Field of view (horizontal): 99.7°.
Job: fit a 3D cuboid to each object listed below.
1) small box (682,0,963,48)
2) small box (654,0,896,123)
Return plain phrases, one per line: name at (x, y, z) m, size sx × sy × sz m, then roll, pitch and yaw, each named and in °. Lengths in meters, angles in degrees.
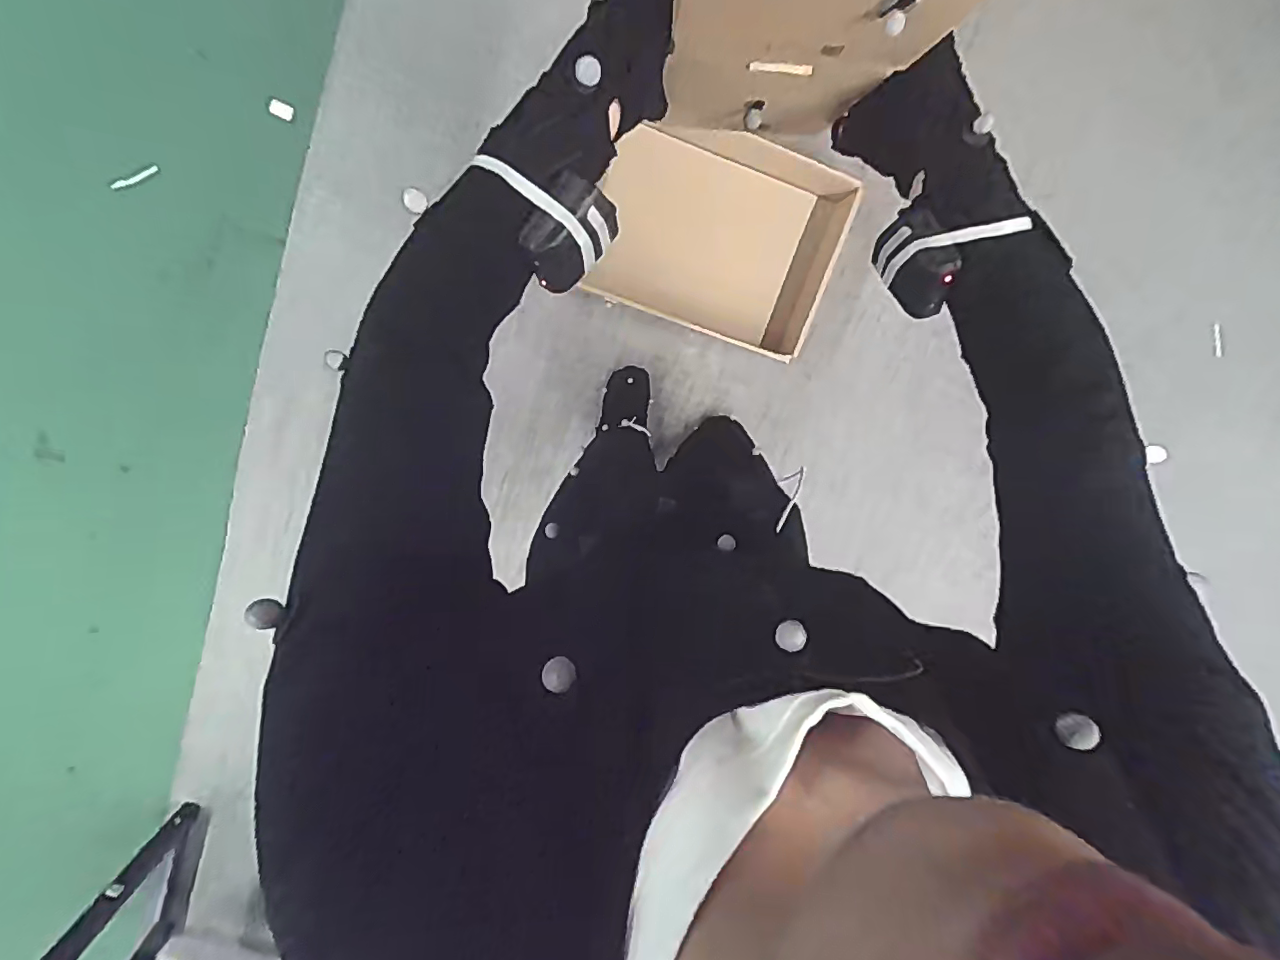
small box at (0.106, -0.335, 0.248) m, size 0.168 × 0.176 × 0.179 m, roll 2°, pitch 109°, yaw -1°
small box at (0.096, -0.397, 0.419) m, size 0.168 × 0.176 × 0.179 m, roll 0°, pitch 109°, yaw 0°
